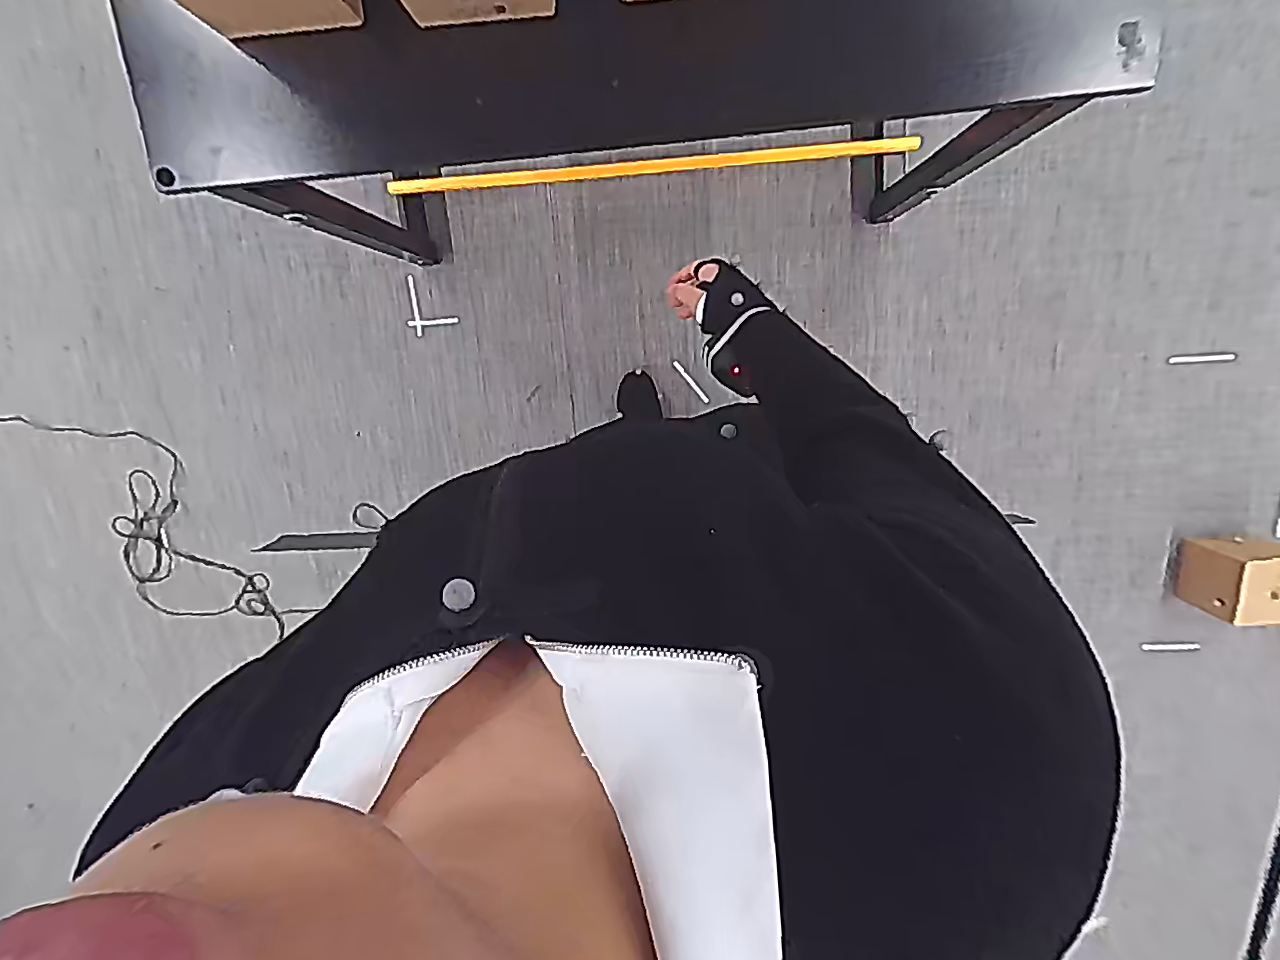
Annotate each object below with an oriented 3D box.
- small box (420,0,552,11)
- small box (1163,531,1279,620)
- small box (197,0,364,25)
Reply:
[{"bbox_3d":[-0.184,-0.608,0.536,0.168,0.176,0.179,-2,104,3],"label":"small box"},{"bbox_3d":[1.528,0.245,1.409,0.168,0.176,0.179,-4,104,4],"label":"small box"},{"bbox_3d":[-0.417,-0.603,0.547,0.179,0.176,0.168,-3,104,3],"label":"small box"}]
